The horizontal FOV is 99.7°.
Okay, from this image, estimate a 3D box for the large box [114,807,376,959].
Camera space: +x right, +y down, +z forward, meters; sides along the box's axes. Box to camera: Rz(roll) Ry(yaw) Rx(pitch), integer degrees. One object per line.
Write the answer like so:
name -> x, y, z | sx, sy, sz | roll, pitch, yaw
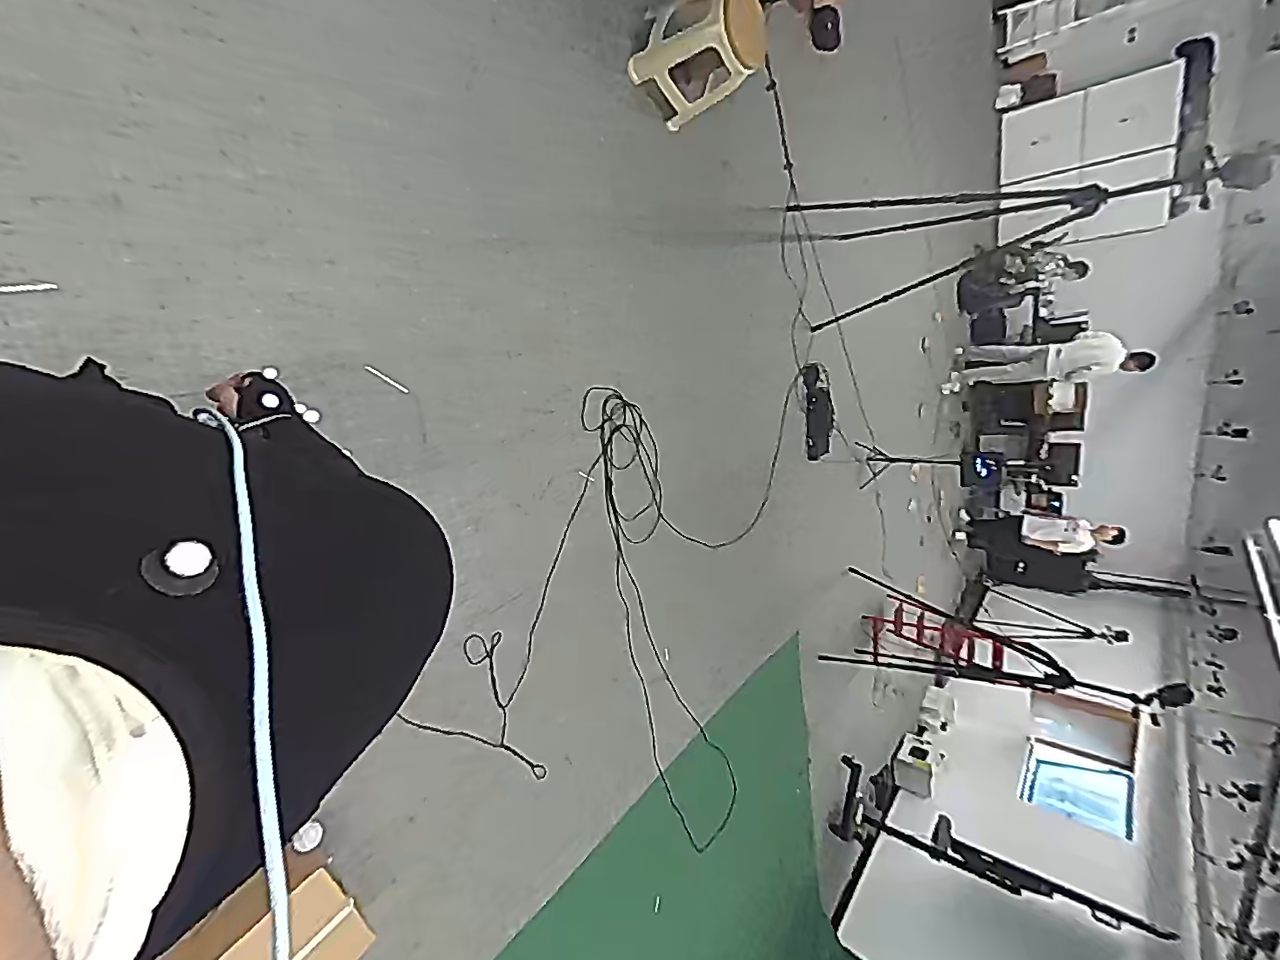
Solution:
large box -> -0.964, 1.142, 1.345 | 0.408, 0.320, 0.320 | -35, 118, -39
